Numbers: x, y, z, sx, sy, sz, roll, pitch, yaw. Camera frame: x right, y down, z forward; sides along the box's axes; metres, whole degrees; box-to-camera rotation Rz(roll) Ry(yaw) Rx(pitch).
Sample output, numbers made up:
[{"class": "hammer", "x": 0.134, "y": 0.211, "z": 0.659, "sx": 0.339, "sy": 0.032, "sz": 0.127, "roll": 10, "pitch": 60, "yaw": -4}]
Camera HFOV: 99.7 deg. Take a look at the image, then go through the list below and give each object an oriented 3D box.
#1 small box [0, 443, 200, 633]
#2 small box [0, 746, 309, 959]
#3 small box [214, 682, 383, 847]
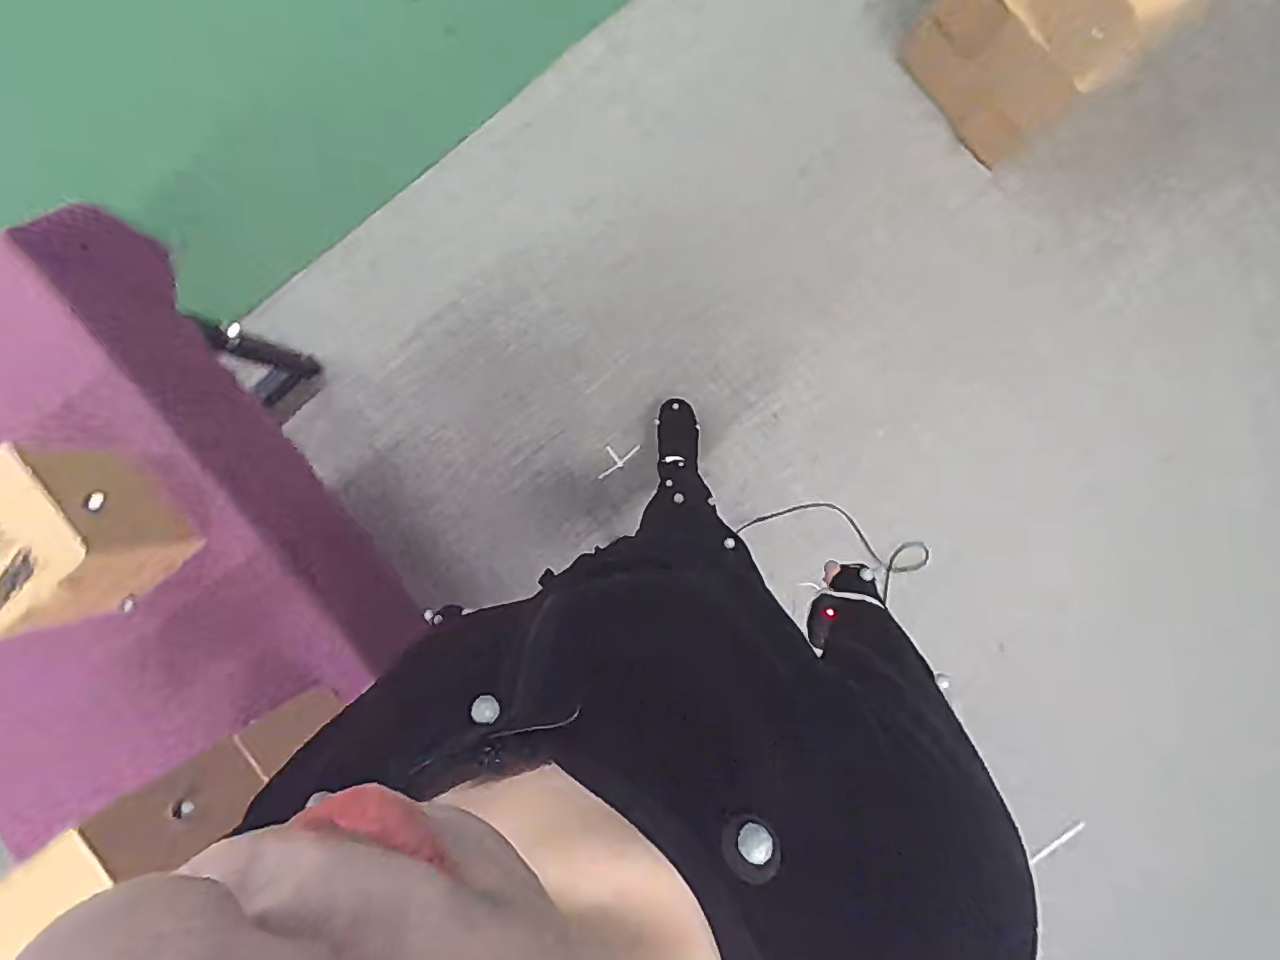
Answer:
[{"class": "small box", "x": -0.761, "y": 0.068, "z": 0.728, "sx": 0.168, "sy": 0.176, "sz": 0.179, "roll": -39, "pitch": 88, "yaw": 2}, {"class": "small box", "x": -0.496, "y": 0.407, "z": 0.552, "sx": 0.168, "sy": 0.176, "sz": 0.179, "roll": -37, "pitch": 89, "yaw": 3}, {"class": "small box", "x": -0.486, "y": 0.407, "z": 0.715, "sx": 0.179, "sy": 0.176, "sz": 0.168, "roll": -38, "pitch": 89, "yaw": 3}]
